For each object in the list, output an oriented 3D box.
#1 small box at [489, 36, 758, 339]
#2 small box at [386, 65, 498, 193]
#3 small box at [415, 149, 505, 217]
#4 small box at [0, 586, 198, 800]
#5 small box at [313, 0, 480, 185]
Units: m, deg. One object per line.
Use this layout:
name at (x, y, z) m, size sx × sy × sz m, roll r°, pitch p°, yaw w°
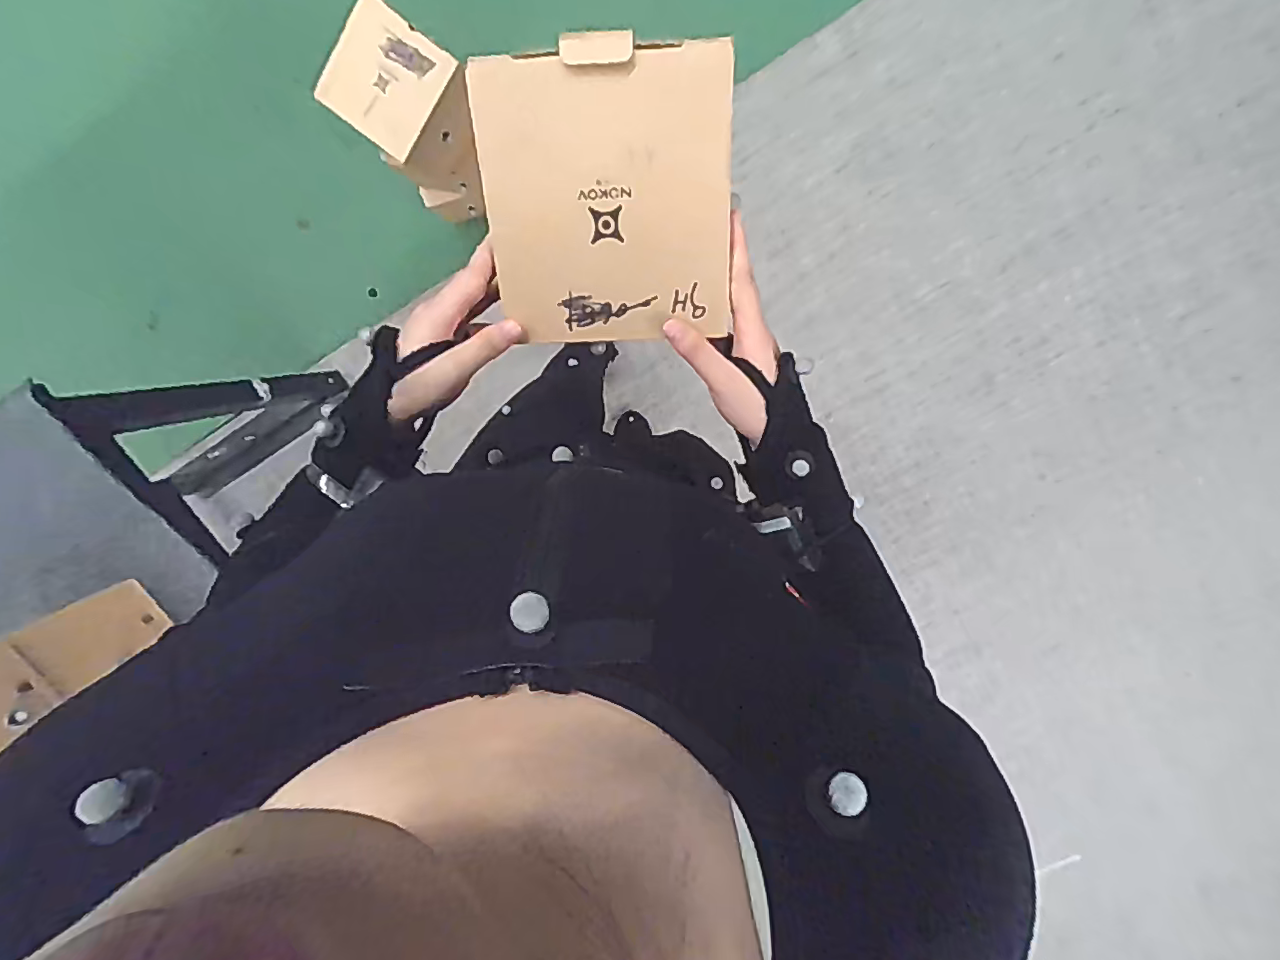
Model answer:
small box at (-0.005, -0.218, 0.430) m, size 0.168 × 0.176 × 0.179 m, roll 0°, pitch 118°, yaw 4°
small box at (-0.378, -0.680, 1.056) m, size 0.168 × 0.176 × 0.179 m, roll 6°, pitch 104°, yaw -3°
small box at (-0.407, -0.710, 1.216) m, size 0.168 × 0.176 × 0.179 m, roll -14°, pitch 104°, yaw 4°
small box at (-0.751, 0.271, 0.722) m, size 0.179 × 0.176 × 0.168 m, roll -30°, pitch 103°, yaw 9°
small box at (-0.387, -0.634, 0.898) m, size 0.168 × 0.176 × 0.179 m, roll 35°, pitch 103°, yaw -9°
